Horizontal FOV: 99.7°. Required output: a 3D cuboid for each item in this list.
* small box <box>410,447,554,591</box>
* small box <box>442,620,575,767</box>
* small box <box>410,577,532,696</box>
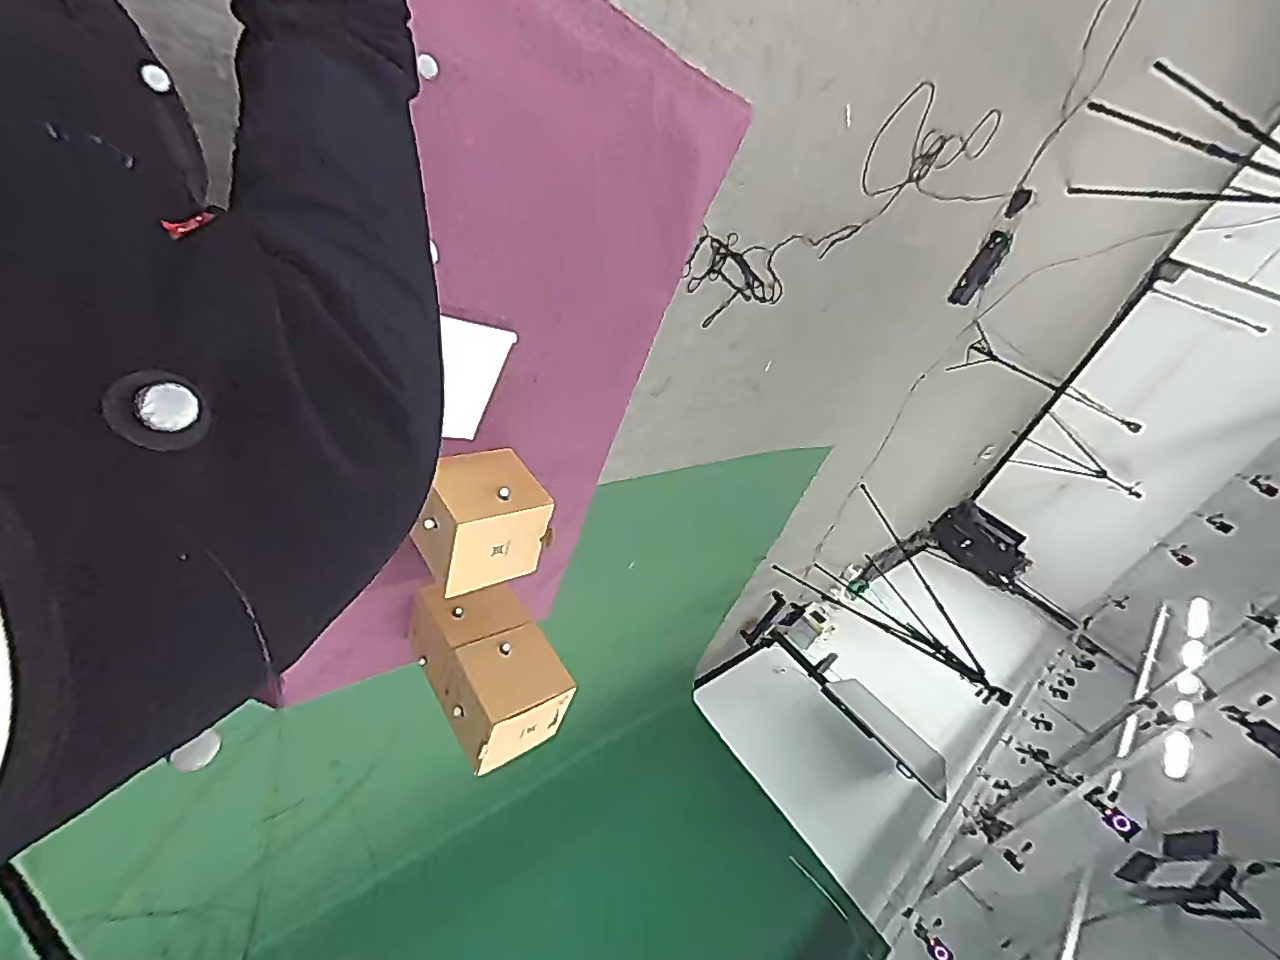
[{"bbox_3d":[-0.282,0.059,0.942,0.179,0.176,0.168,-12,135,-42],"label":"small box"},{"bbox_3d":[-0.259,0.401,1.040,0.179,0.176,0.168,-8,133,-43],"label":"small box"},{"bbox_3d":[-0.359,0.308,1.130,0.179,0.176,0.168,-9,133,-44],"label":"small box"}]
